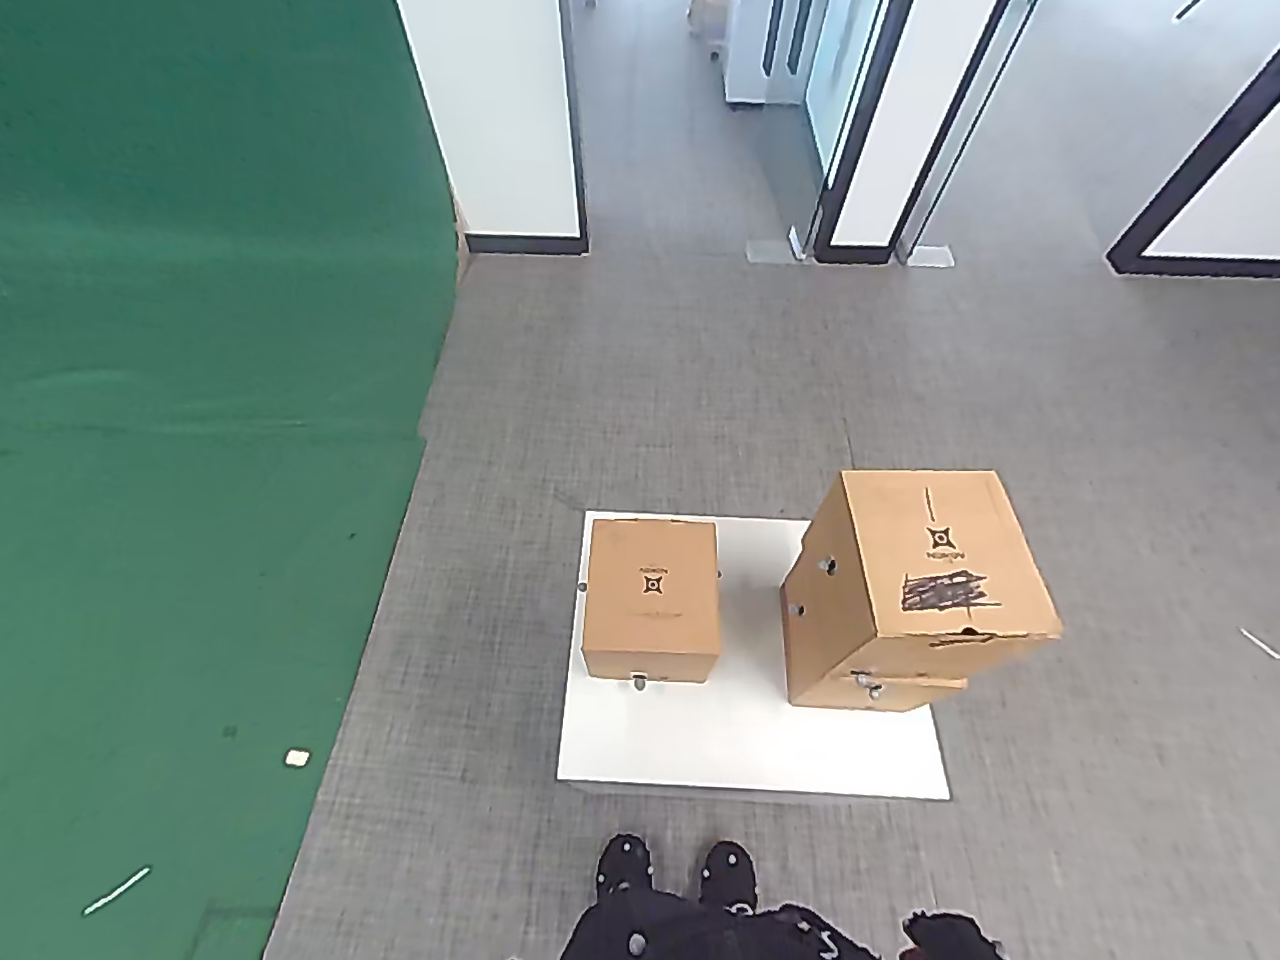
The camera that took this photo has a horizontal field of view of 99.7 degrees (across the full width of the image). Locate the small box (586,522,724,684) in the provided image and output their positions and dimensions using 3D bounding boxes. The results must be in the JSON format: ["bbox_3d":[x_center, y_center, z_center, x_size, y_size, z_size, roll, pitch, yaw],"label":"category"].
[{"bbox_3d":[0.019,0.173,0.744,0.168,0.176,0.179,0,60,1],"label":"small box"}]

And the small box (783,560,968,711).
[{"bbox_3d":[0.294,0.198,0.724,0.168,0.176,0.179,2,58,2],"label":"small box"}]

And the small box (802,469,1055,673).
[{"bbox_3d":[0.287,0.106,0.588,0.168,0.176,0.179,0,58,1],"label":"small box"}]
